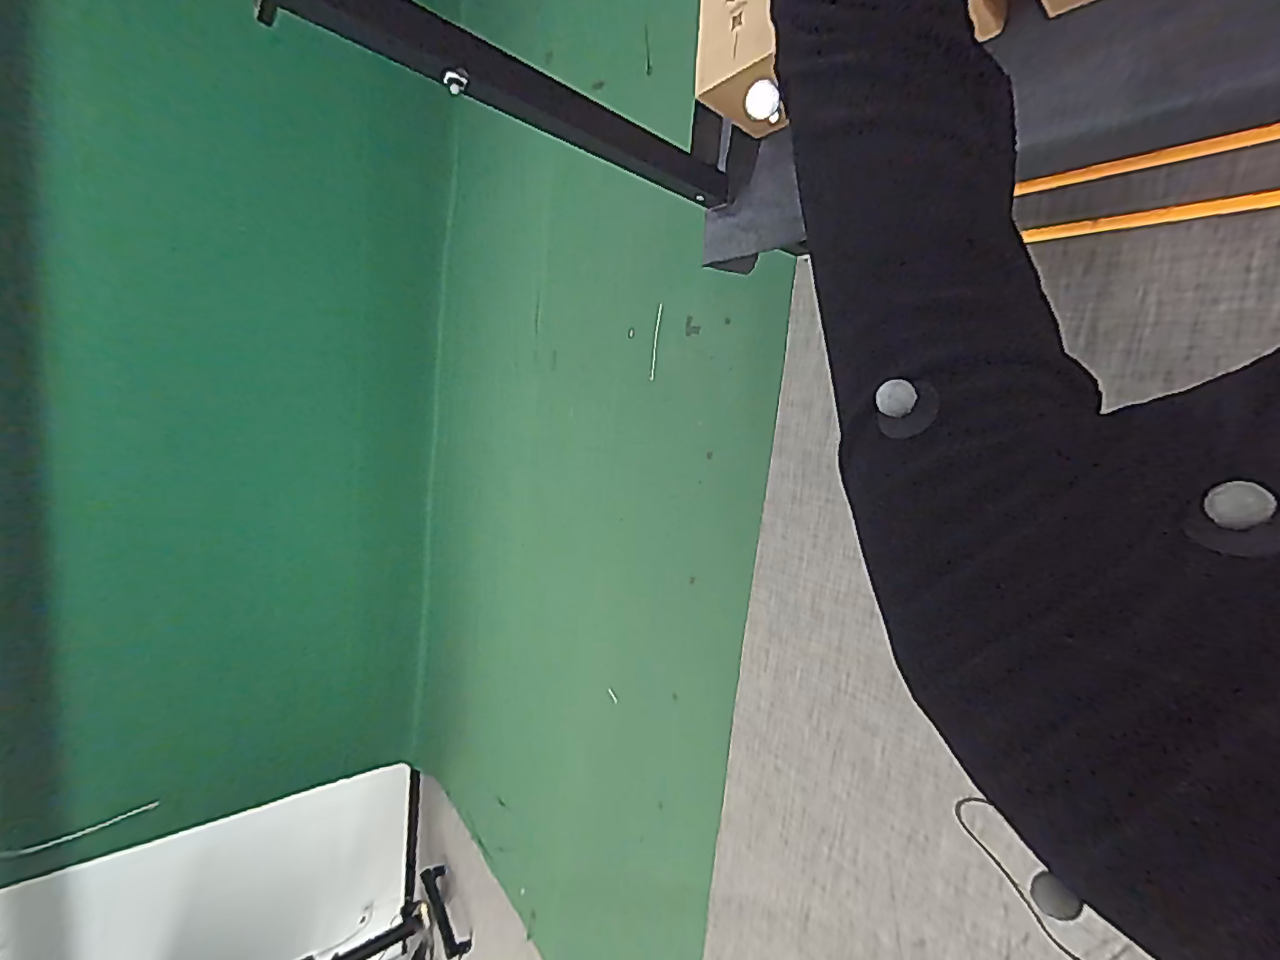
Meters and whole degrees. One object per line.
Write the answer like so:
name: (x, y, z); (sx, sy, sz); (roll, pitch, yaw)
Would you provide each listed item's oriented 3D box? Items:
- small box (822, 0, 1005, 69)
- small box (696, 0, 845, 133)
small box: (0.359, -0.670, 0.689); (0.168, 0.176, 0.179); (14, 100, 48)
small box: (0.211, -0.699, 0.859); (0.168, 0.176, 0.179); (10, 98, 49)
